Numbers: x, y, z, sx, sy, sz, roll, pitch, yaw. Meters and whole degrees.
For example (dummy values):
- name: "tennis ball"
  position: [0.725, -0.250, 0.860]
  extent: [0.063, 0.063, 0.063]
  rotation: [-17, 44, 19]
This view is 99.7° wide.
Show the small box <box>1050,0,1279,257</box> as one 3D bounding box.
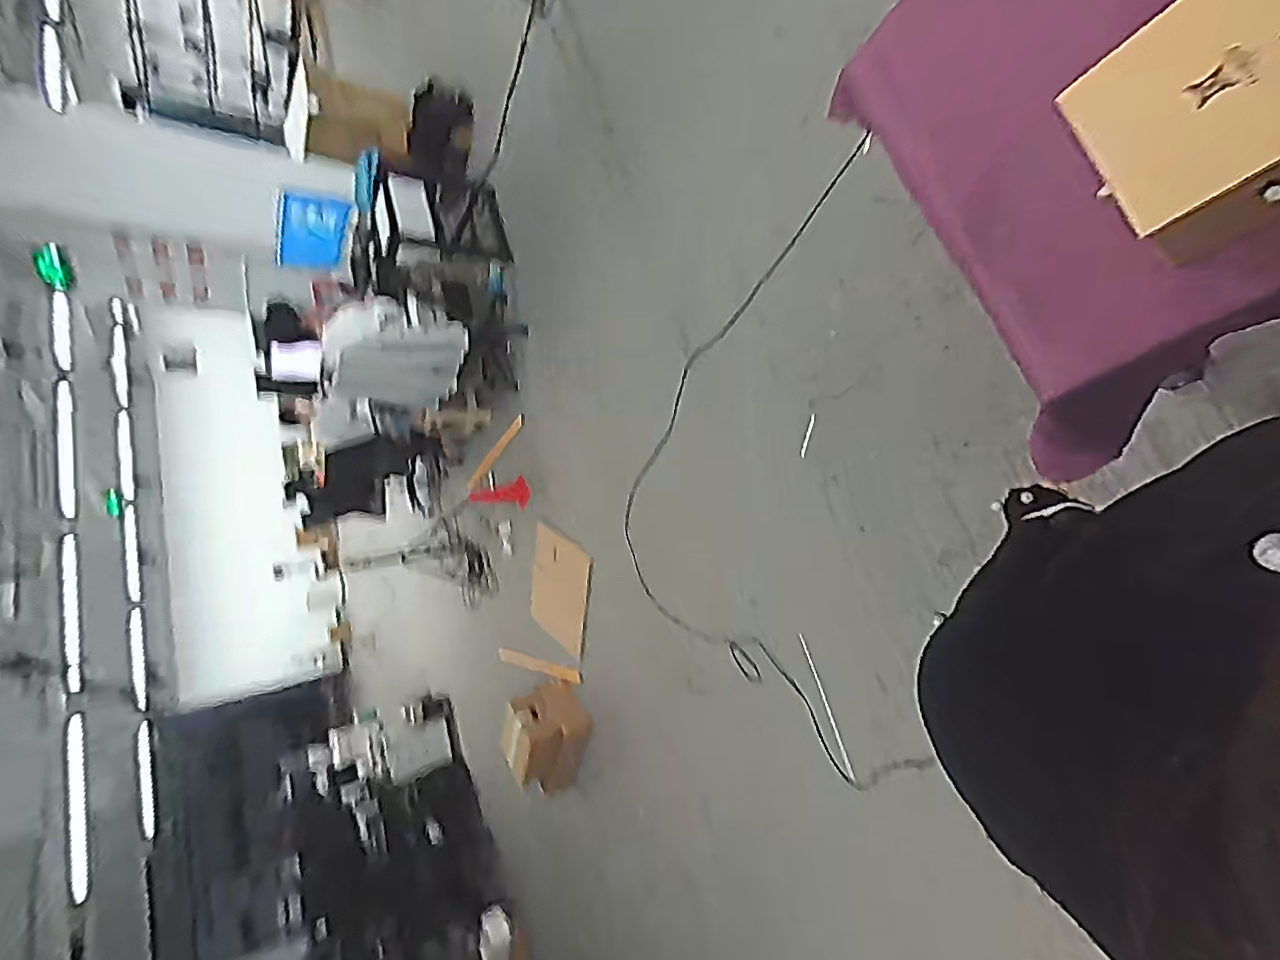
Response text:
- name: "small box"
  position: [0.526, -0.329, 0.486]
  extent: [0.179, 0.176, 0.168]
  rotation: [-33, 69, 49]
